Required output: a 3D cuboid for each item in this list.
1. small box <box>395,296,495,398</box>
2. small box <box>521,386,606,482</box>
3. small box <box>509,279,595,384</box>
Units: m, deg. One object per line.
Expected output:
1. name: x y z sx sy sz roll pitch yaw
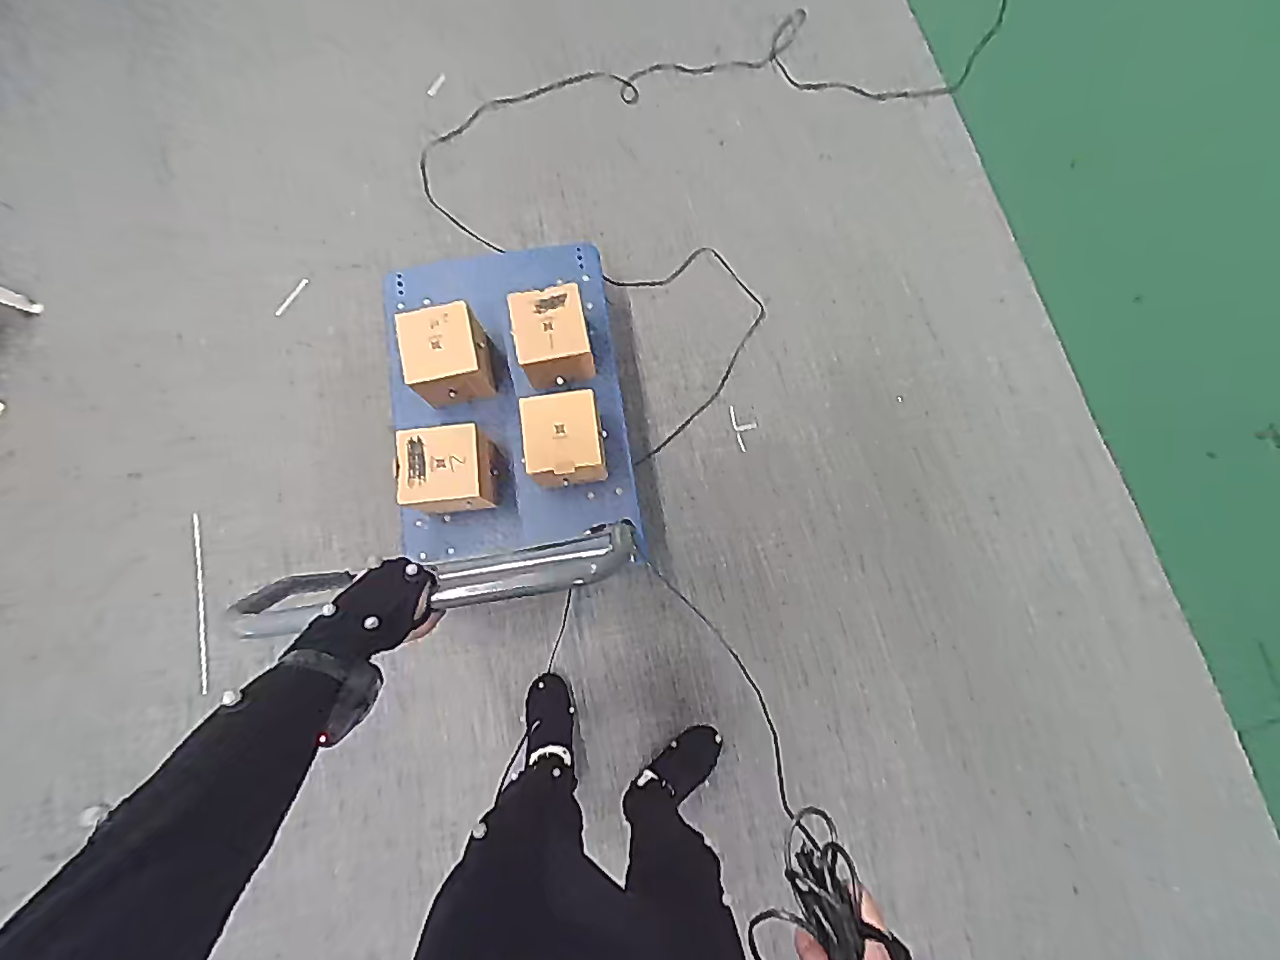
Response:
1. small box: -0.456 -0.305 1.288 0.168 0.176 0.179 -12 80 -3
2. small box: -0.172 -0.101 1.253 0.168 0.176 0.179 -8 81 -1
3. small box: -0.205 -0.351 1.296 0.168 0.176 0.179 -10 81 -1
